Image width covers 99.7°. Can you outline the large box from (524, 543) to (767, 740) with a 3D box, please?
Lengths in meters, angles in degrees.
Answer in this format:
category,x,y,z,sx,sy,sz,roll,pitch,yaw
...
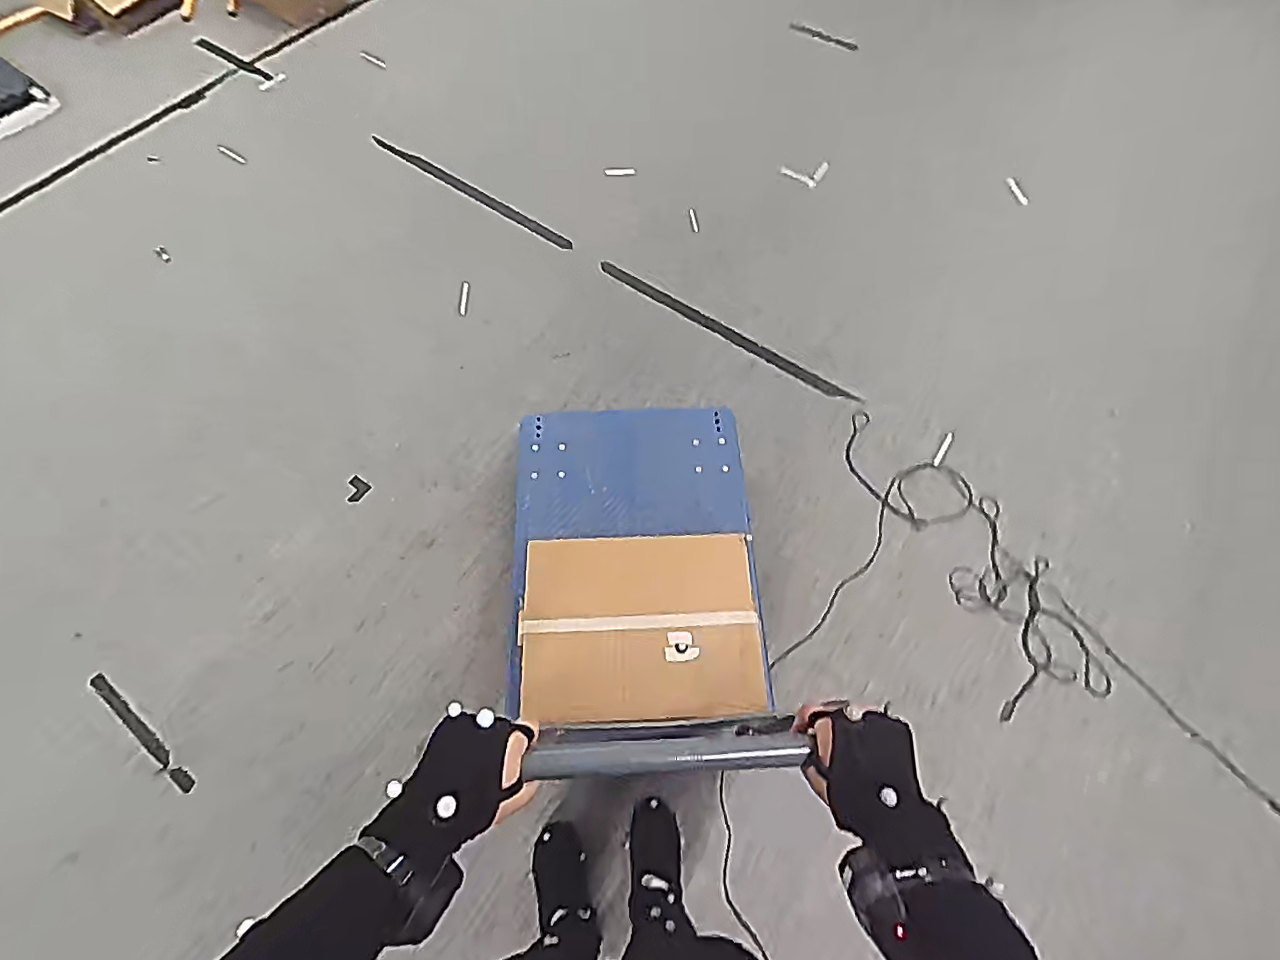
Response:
category,x,y,z,sx,sy,sz,roll,pitch,yaw
large box,-0.005,0.327,1.064,0.408,0.320,0.320,-2,65,-3
